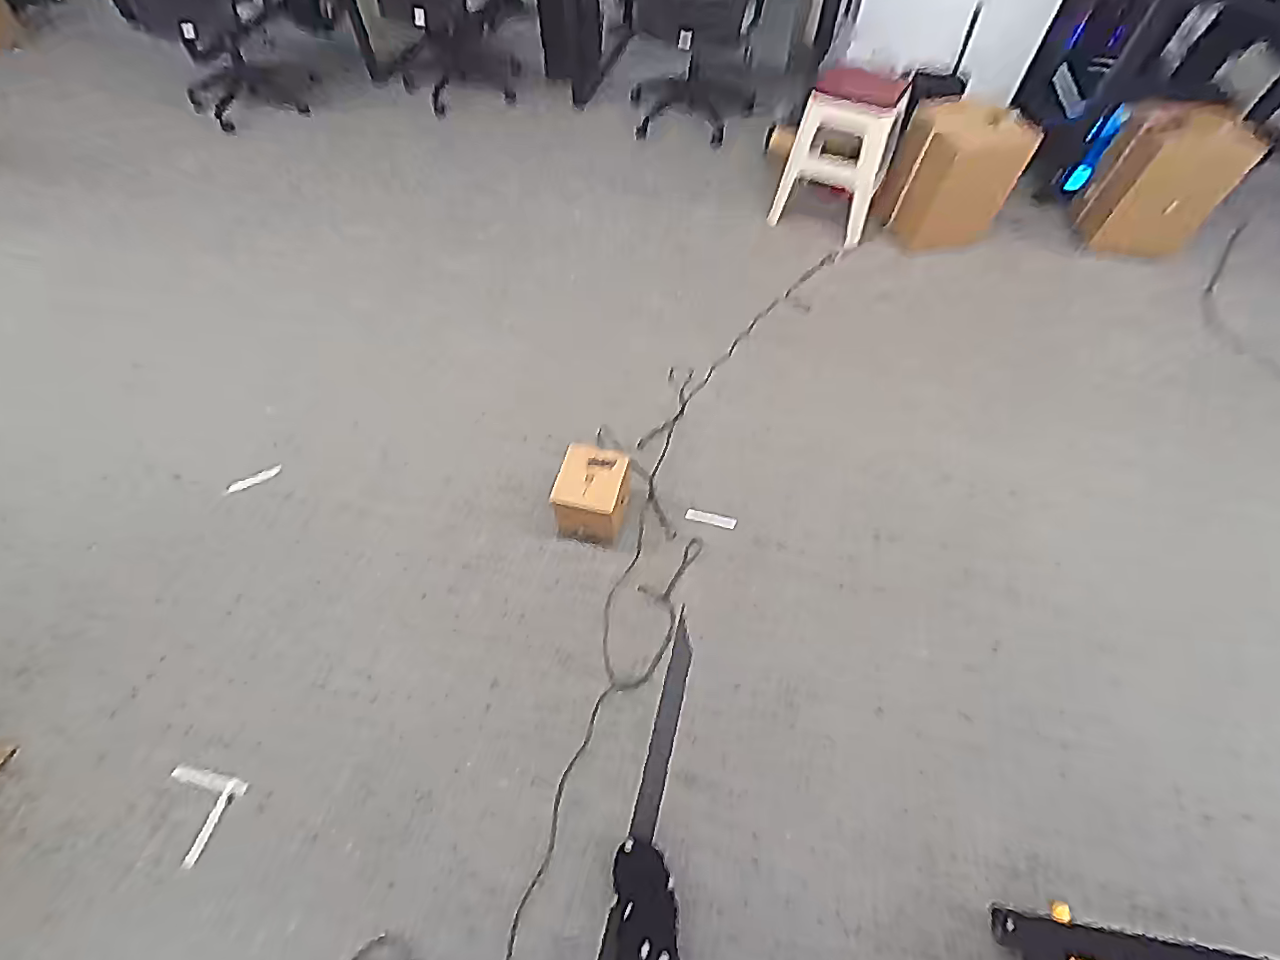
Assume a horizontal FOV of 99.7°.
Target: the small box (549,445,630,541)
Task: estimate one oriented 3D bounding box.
[{"bbox_3d":[-0.128,0.037,1.437,0.168,0.176,0.179,12,59,8],"label":"small box"}]
